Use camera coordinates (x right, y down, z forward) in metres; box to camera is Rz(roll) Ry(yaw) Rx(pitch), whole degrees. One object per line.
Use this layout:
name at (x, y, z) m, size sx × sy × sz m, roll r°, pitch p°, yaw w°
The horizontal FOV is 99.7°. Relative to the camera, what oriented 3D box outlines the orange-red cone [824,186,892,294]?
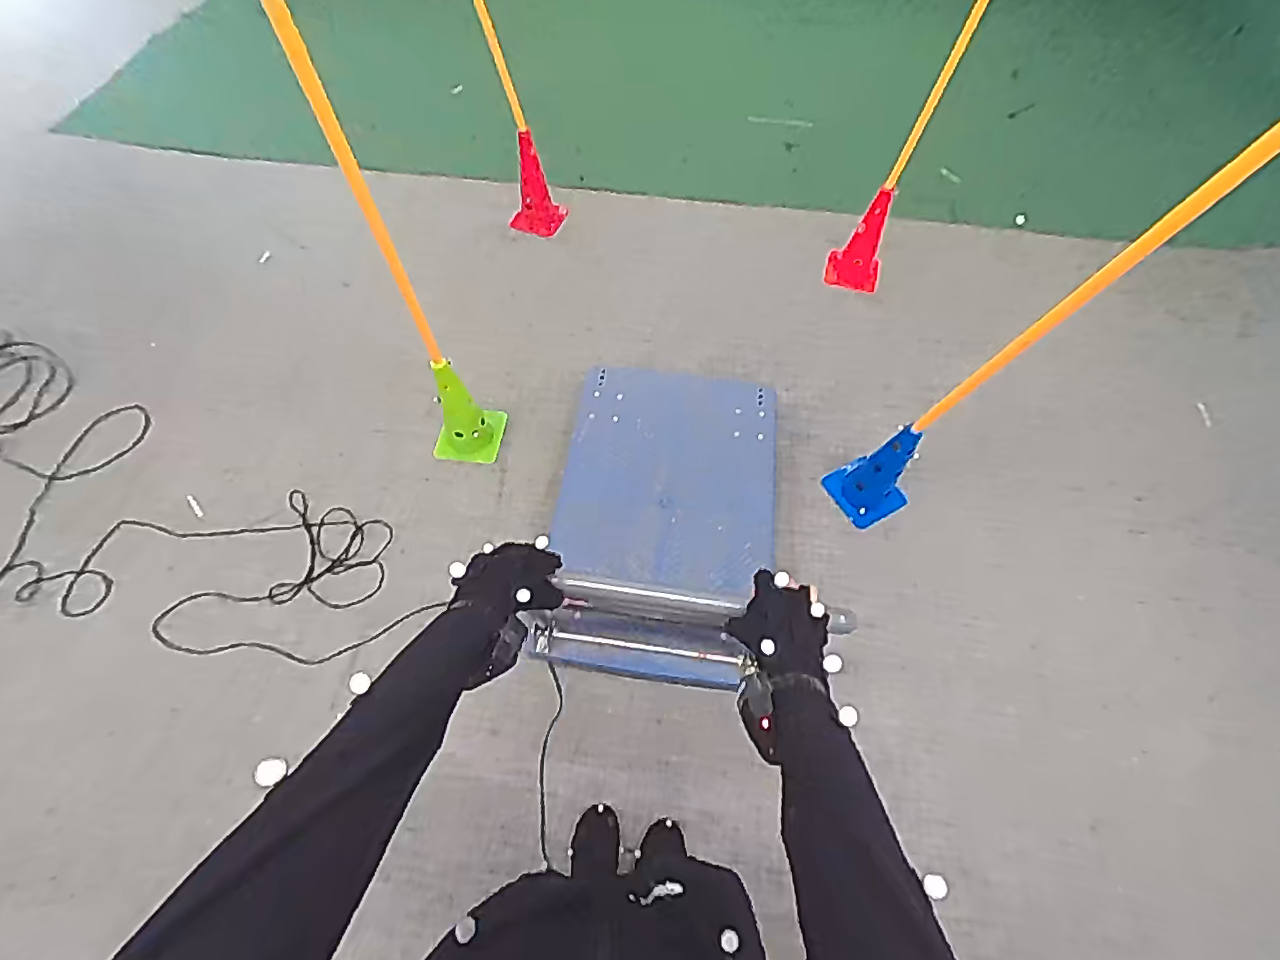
orange-red cone at (0.834, -0.897, 1.979) m, size 0.198 × 0.360 × 0.199 m, roll 17°, pitch 63°, yaw 9°
